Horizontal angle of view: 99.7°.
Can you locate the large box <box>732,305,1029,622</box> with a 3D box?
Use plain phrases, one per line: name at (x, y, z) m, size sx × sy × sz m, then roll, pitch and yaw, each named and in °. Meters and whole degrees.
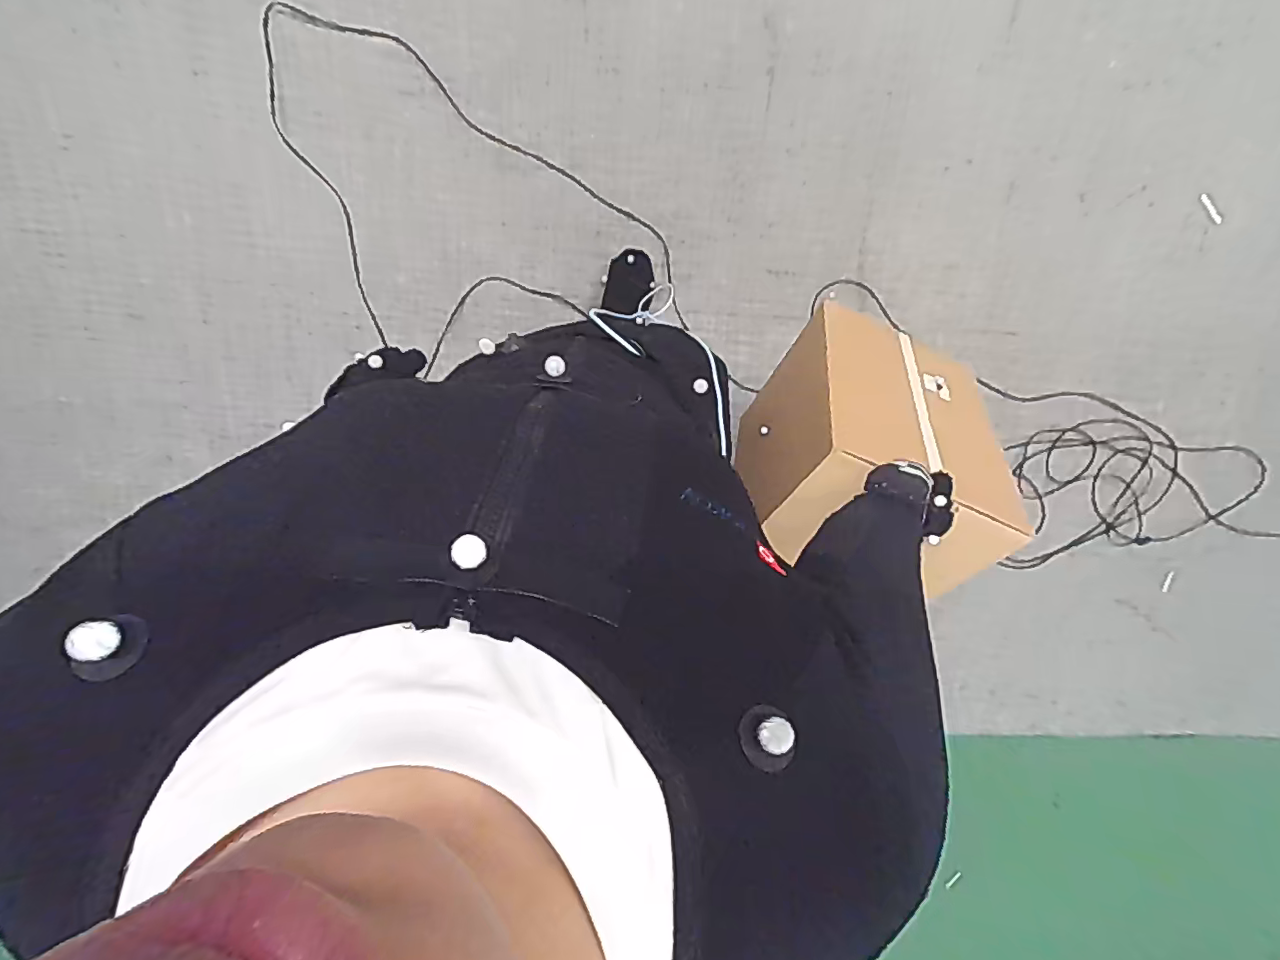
large box at (0.377, -0.027, 0.954) m, size 0.320 × 0.408 × 0.320 m, roll 23°, pitch 136°, yaw -7°
